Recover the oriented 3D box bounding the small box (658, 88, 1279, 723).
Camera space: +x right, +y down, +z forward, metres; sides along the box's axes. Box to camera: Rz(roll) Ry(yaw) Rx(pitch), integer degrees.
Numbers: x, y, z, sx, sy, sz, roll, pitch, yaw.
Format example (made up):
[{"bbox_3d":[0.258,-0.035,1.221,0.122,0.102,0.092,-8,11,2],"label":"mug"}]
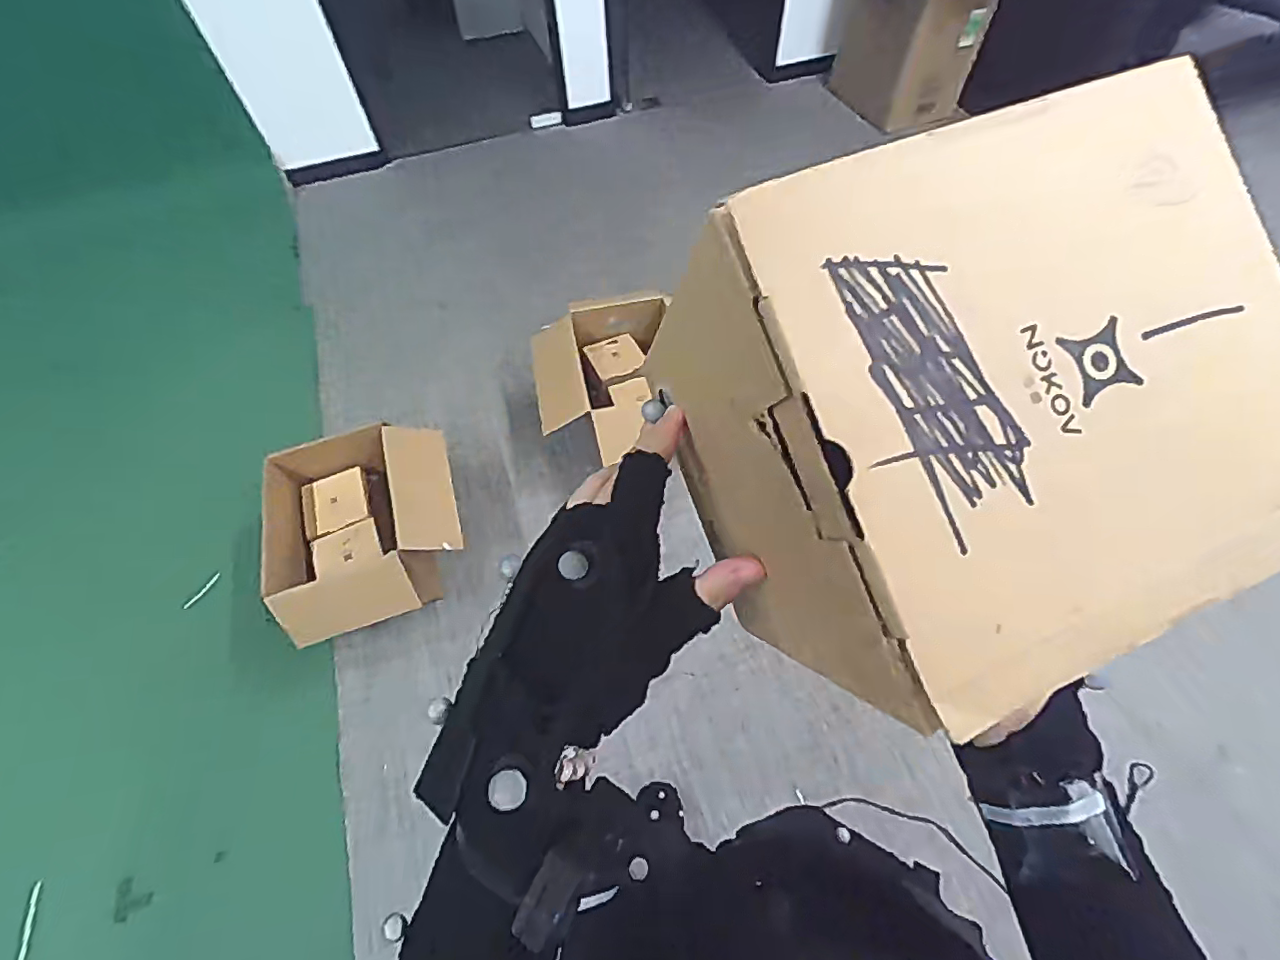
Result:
[{"bbox_3d":[0.116,-0.024,0.251,0.179,0.176,0.168,-21,88,-9],"label":"small box"}]
